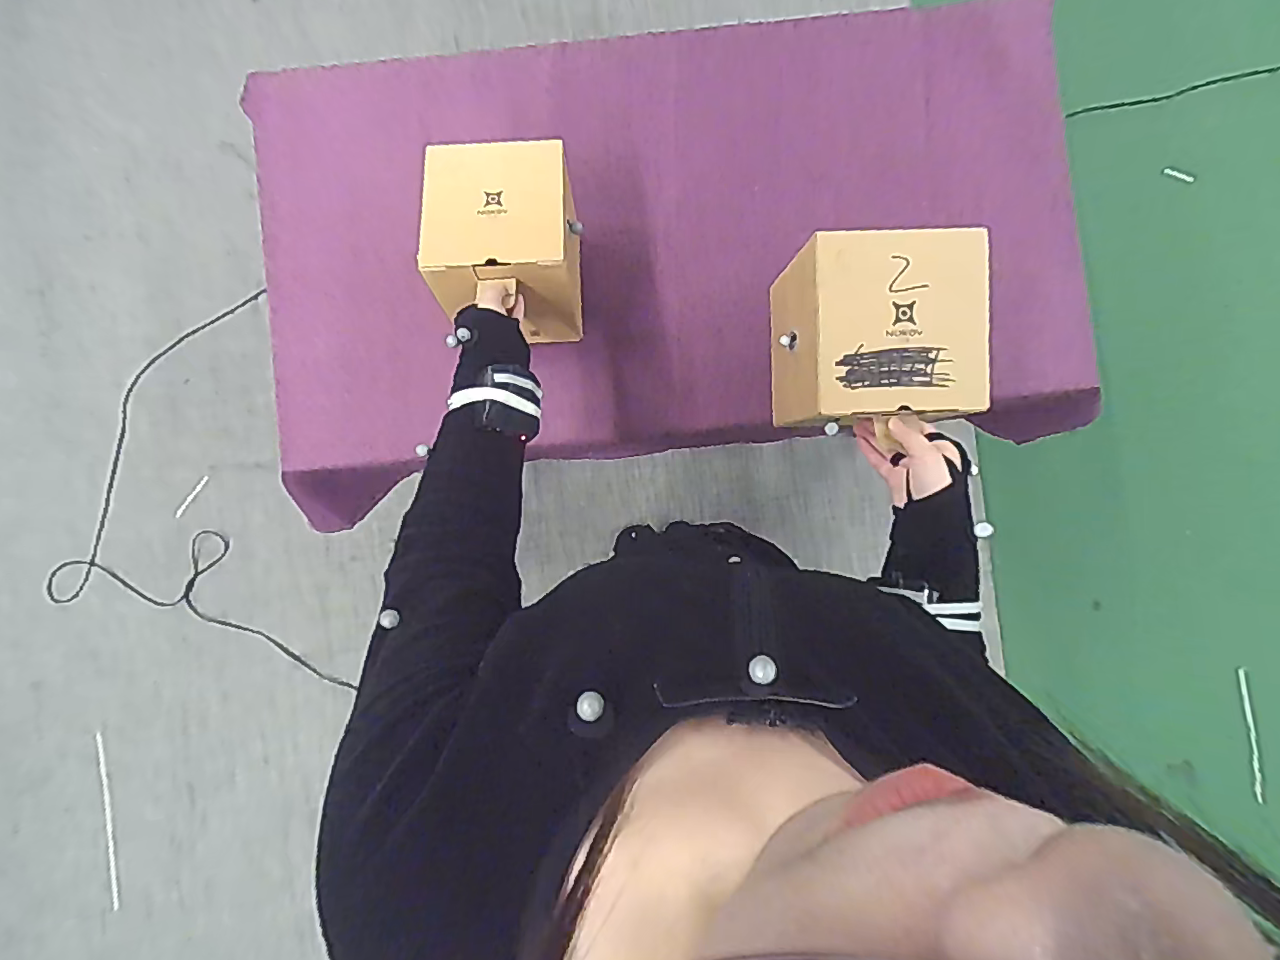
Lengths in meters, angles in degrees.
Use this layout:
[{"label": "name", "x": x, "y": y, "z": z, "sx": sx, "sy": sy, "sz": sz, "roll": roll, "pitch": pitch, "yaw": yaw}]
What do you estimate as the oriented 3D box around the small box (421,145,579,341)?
[{"label": "small box", "x": -0.173, "y": -0.305, "z": 0.717, "sx": 0.168, "sy": 0.176, "sz": 0.179, "roll": -3, "pitch": 75, "yaw": -1}]
